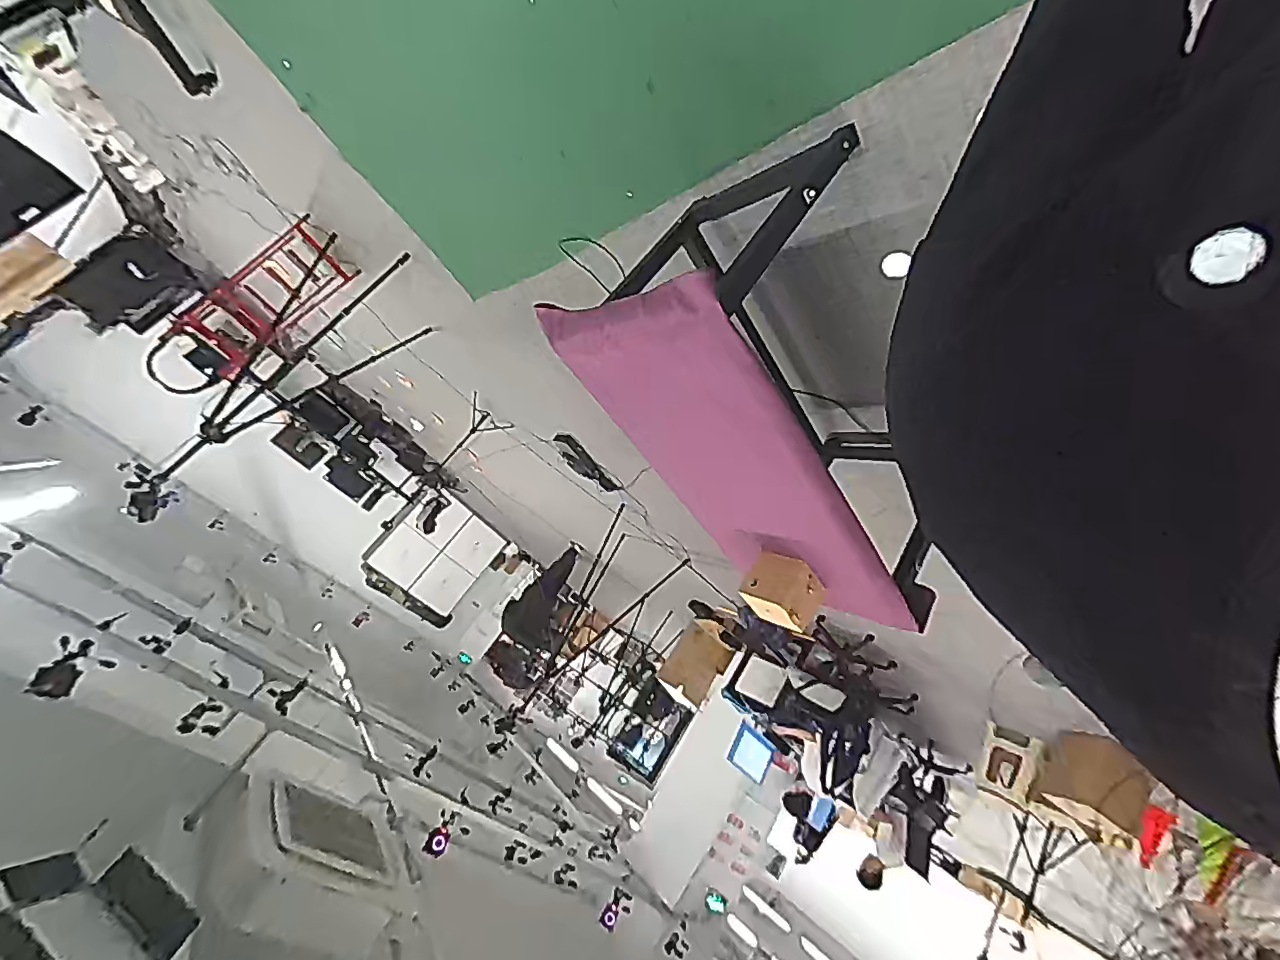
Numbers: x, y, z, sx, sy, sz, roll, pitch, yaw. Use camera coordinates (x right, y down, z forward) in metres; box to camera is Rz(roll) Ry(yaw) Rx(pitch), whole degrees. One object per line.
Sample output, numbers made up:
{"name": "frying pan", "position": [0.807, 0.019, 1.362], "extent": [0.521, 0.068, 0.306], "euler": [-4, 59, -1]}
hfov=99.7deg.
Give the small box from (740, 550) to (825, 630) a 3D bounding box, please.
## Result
{"name": "small box", "position": [0.462, 0.346, 1.741], "extent": [0.179, 0.176, 0.168], "euler": [8, 146, 52]}
